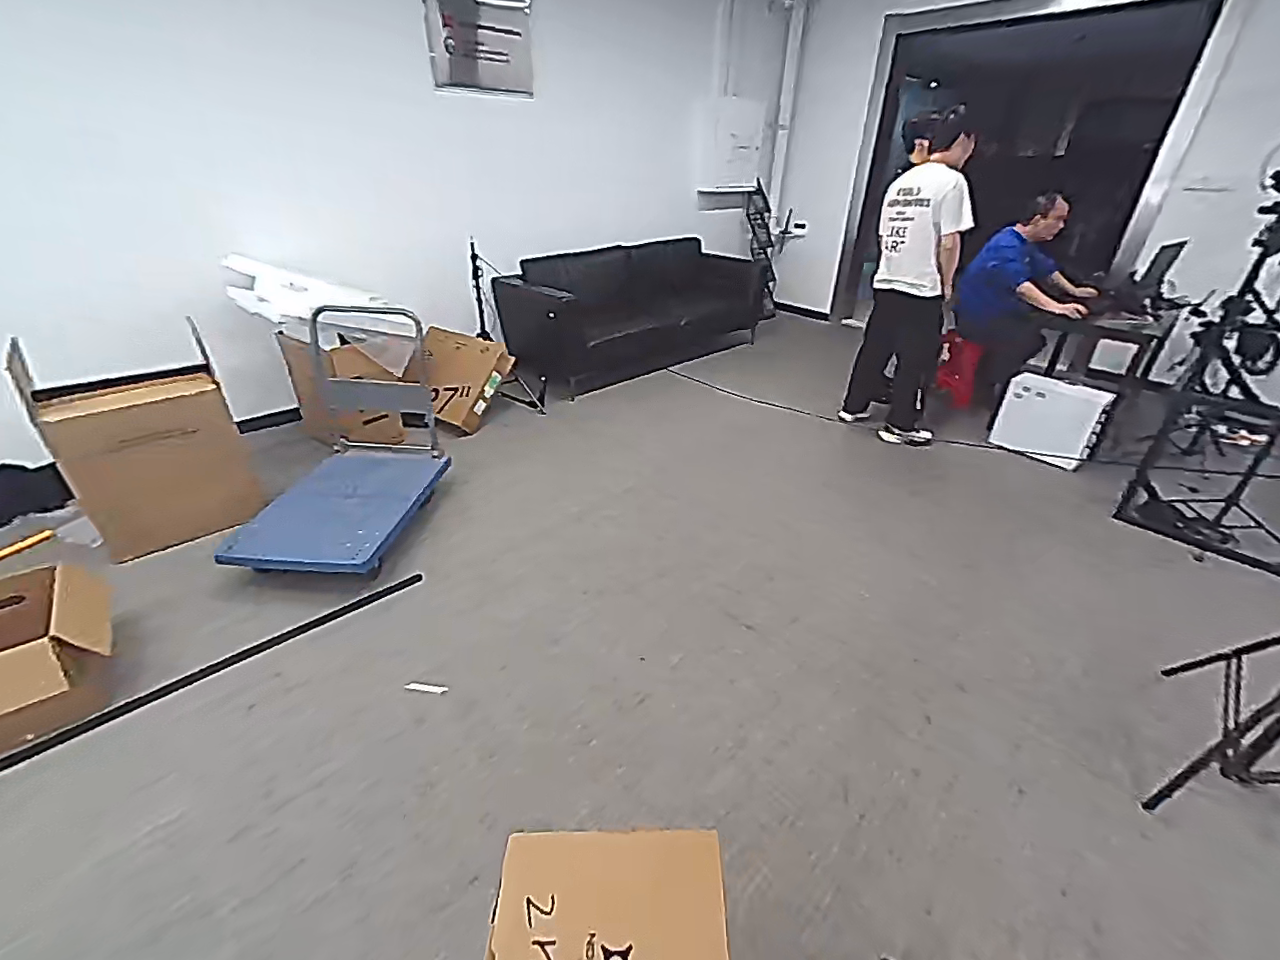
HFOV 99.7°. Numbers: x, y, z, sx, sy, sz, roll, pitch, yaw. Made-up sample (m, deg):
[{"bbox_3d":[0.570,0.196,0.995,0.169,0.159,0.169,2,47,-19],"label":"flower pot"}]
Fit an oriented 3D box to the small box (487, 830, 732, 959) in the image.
[{"bbox_3d":[-0.015,0.399,0.425,0.179,0.176,0.168,-4,37,6],"label":"small box"}]
